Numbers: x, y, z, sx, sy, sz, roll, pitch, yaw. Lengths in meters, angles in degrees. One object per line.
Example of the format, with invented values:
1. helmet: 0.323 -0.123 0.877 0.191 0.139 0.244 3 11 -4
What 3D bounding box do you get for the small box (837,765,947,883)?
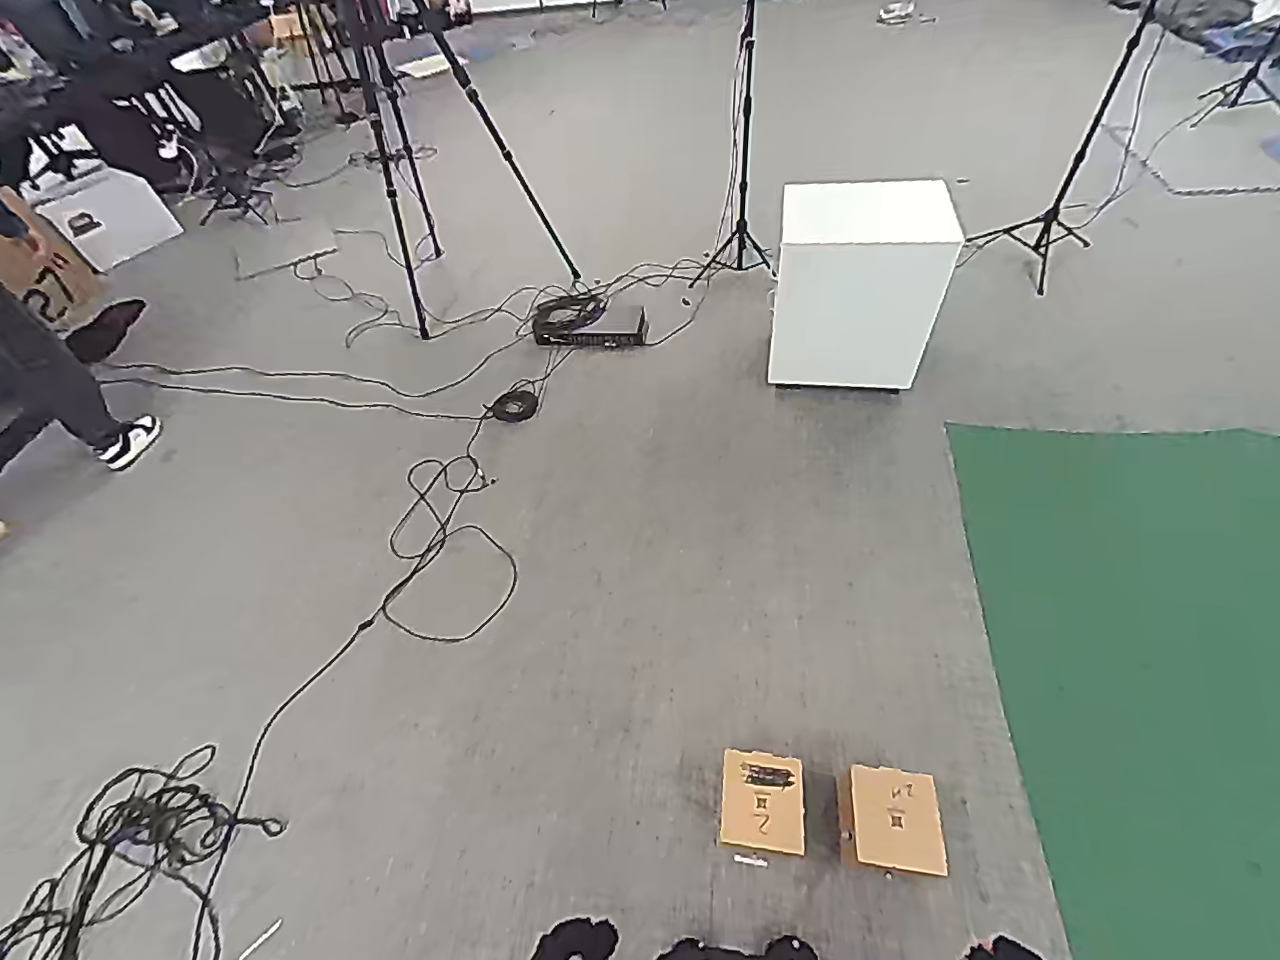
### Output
1. small box: 0.516 0.723 1.133 0.168 0.176 0.179 4 52 10
